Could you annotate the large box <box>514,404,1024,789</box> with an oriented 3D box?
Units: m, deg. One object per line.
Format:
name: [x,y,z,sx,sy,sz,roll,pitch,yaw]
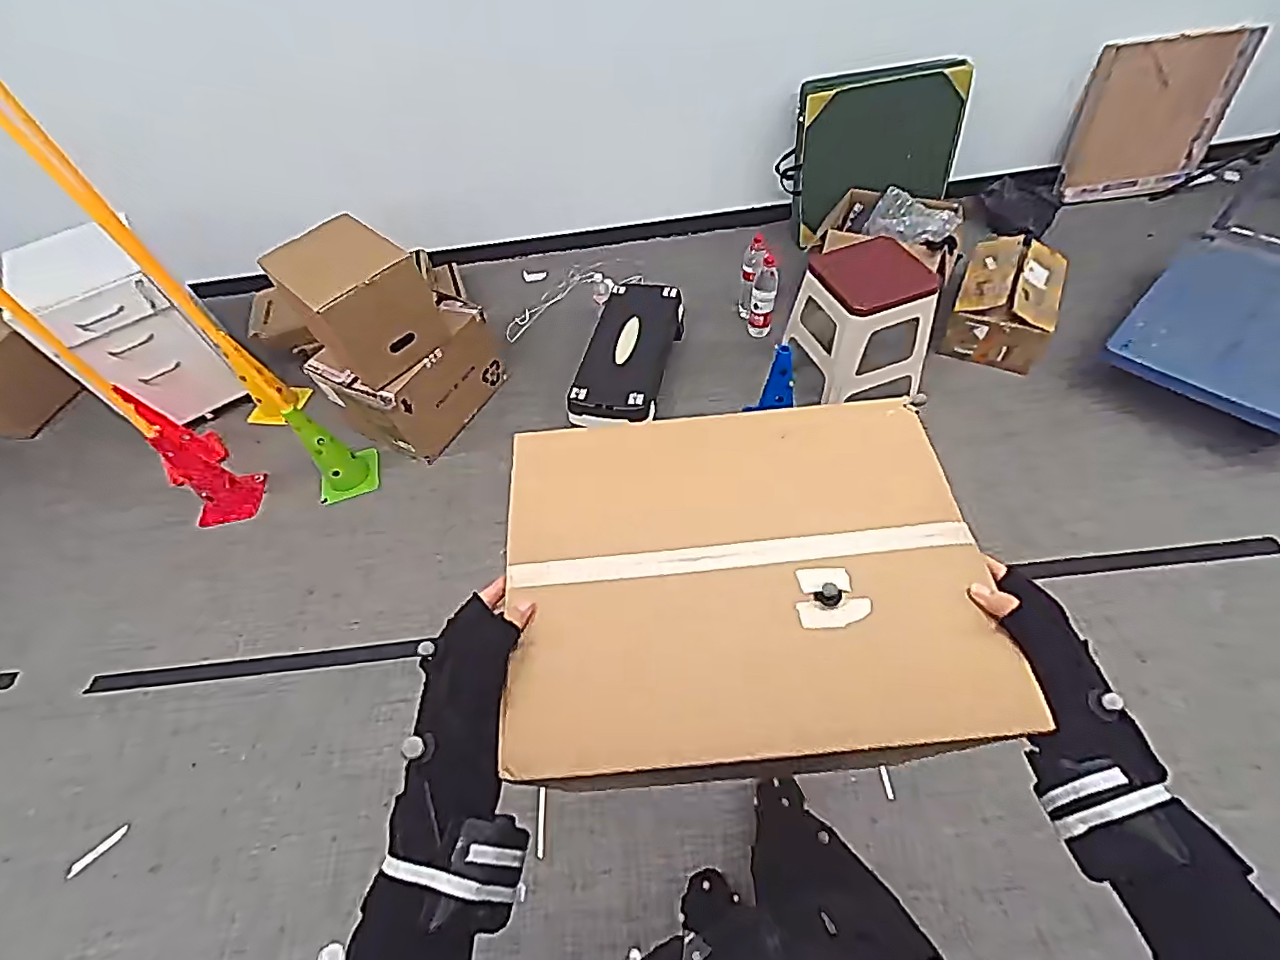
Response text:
large box: [0.092,0.147,0.615,0.408,0.320,0.320,-6,58,0]
